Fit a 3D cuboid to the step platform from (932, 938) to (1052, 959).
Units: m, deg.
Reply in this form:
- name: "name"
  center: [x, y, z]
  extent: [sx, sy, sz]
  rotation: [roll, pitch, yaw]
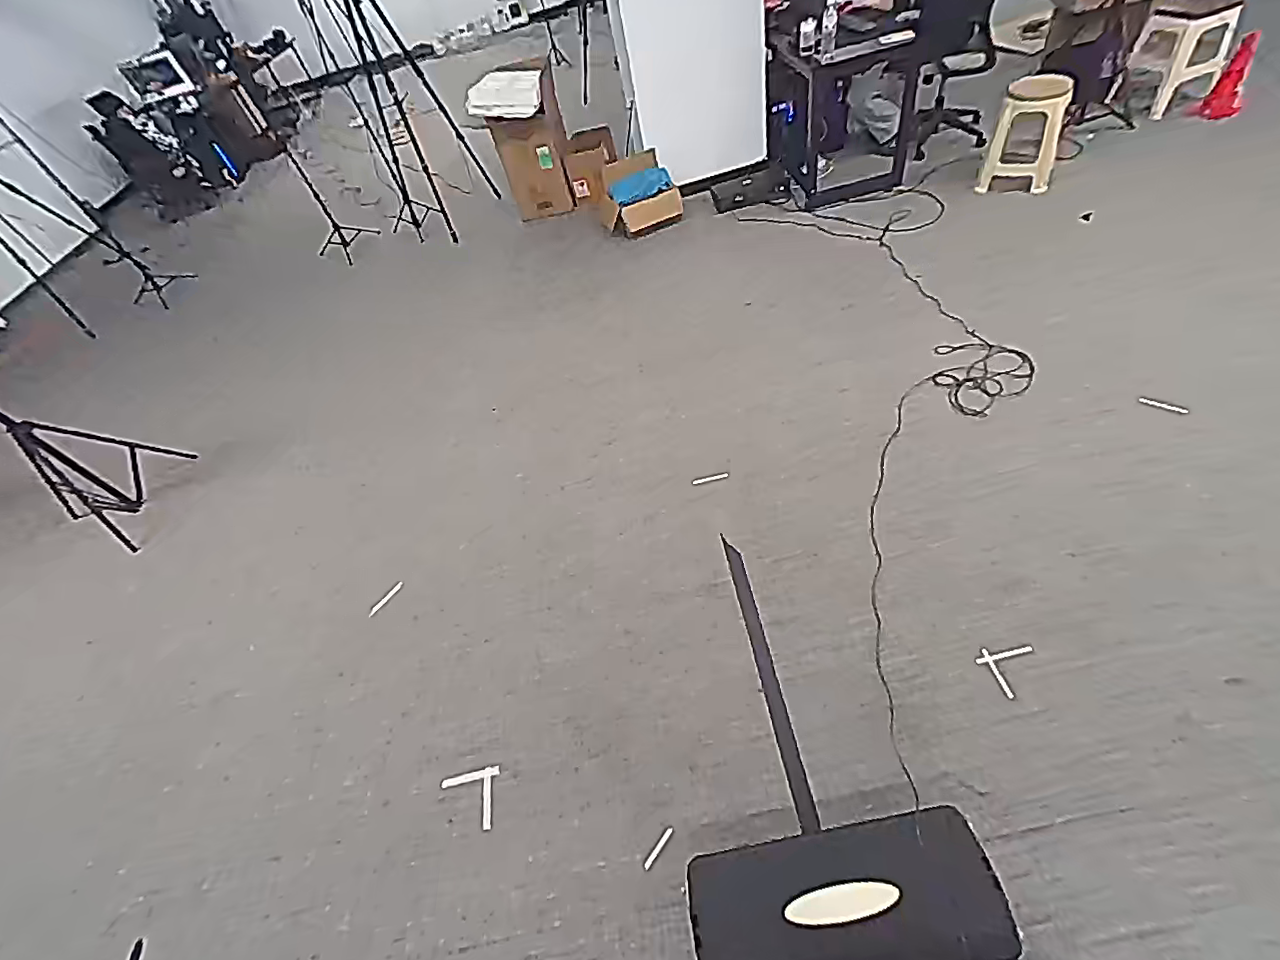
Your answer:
- name: "step platform"
  center: [0.488, 1.097, 1.002]
  extent: [0.684, 0.204, 0.286]
  rotation: [-15, 48, 4]
